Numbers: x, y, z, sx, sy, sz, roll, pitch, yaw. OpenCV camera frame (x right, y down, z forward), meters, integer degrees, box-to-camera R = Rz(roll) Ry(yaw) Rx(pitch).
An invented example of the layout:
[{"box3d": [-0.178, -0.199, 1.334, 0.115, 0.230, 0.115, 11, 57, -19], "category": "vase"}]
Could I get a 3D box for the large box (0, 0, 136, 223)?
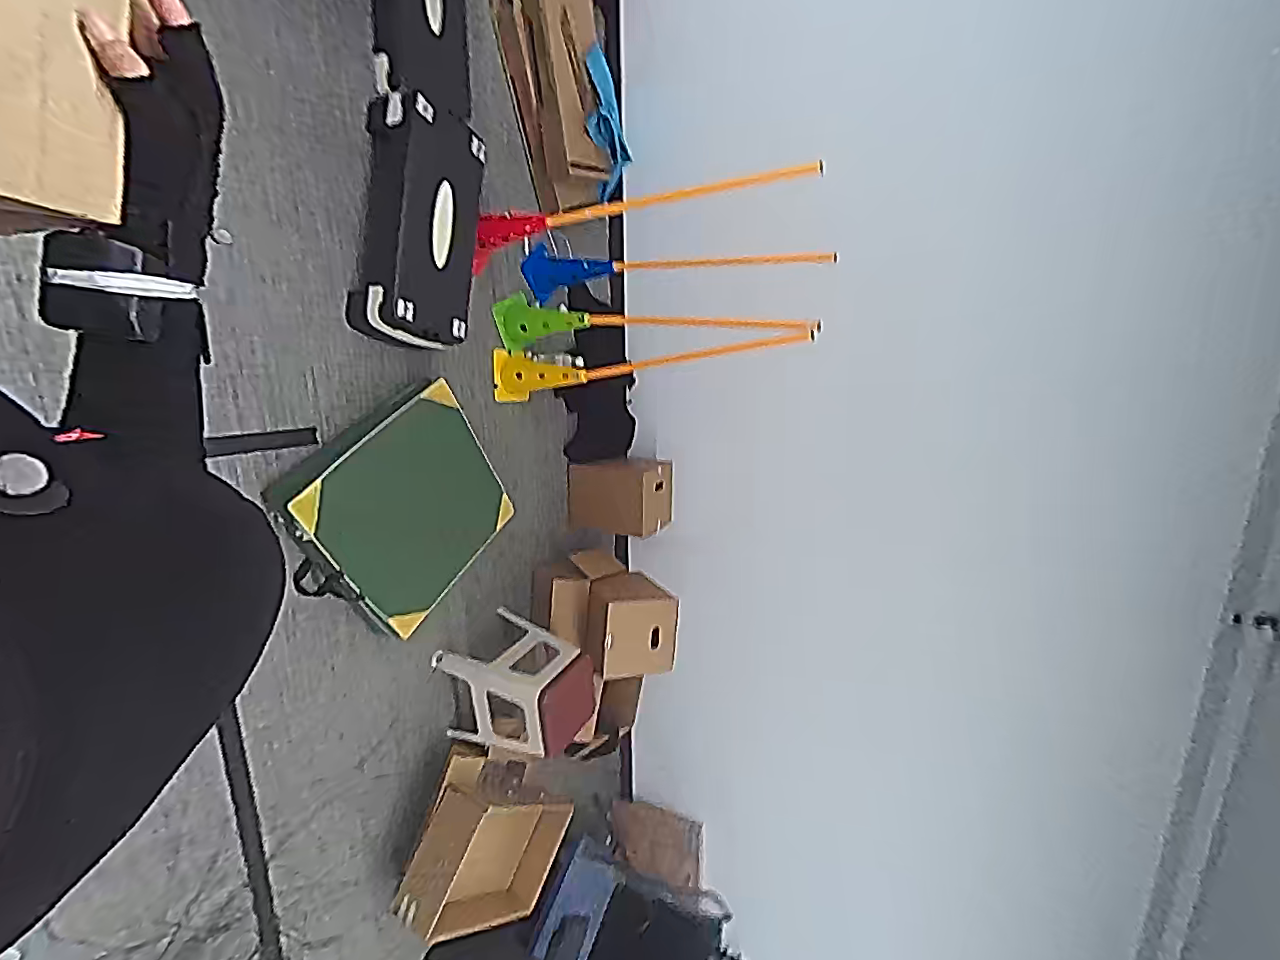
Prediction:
[{"box3d": [-0.546, -0.348, 0.246, 0.408, 0.320, 0.320, -4, 106, -59], "category": "large box"}]
